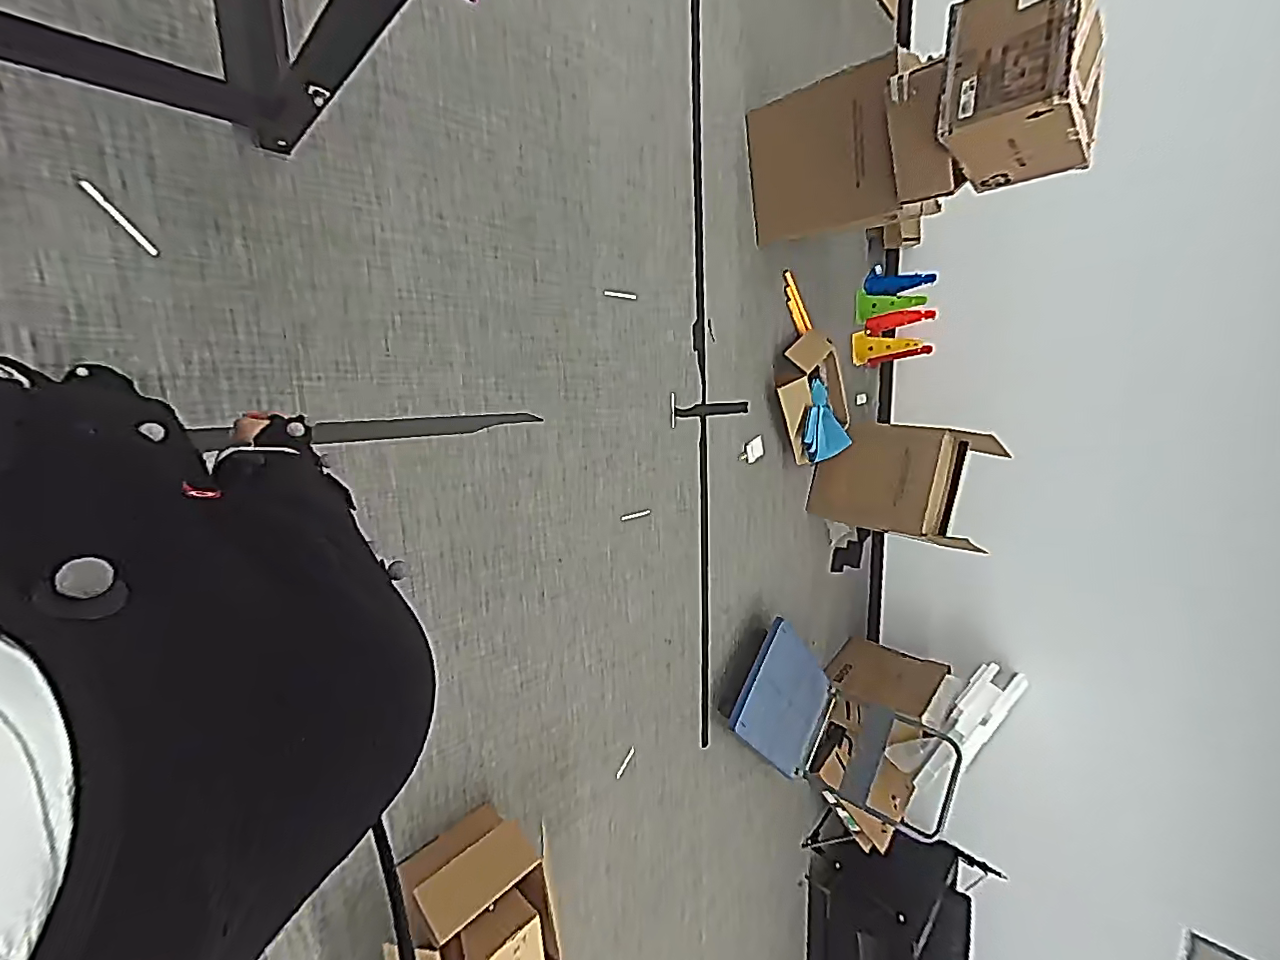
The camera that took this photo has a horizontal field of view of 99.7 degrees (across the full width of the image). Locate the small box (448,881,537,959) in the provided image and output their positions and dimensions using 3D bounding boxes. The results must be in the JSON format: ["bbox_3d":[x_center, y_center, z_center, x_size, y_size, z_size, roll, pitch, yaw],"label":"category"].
[{"bbox_3d":[-0.401,1.258,1.471,0.168,0.176,0.179,-14,106,-45],"label":"small box"}]
